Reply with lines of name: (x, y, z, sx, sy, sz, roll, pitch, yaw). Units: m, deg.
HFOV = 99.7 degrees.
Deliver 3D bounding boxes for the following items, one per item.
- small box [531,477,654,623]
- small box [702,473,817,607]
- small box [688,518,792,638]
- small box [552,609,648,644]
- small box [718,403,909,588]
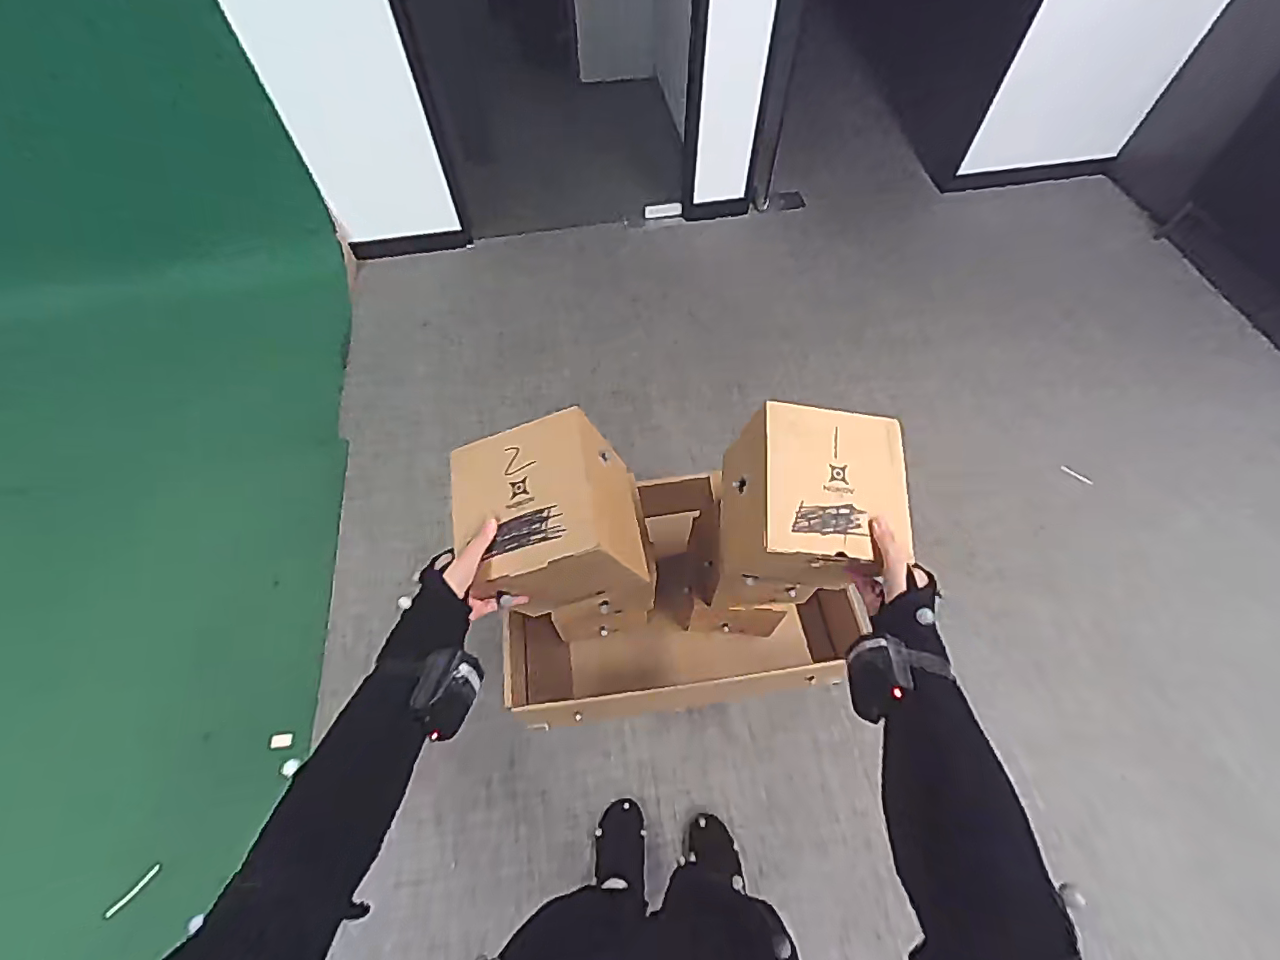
small box: (-0.072, 0.120, 0.870, 0.168, 0.176, 0.179, -10, 61, -5)
small box: (0.195, 0.102, 0.880, 0.168, 0.176, 0.179, -2, 60, -1)
small box: (0.179, 0.187, 1.019, 0.168, 0.176, 0.179, 2, 61, 2)
small box: (-0.081, 0.191, 1.019, 0.168, 0.176, 0.179, -10, 61, -5)
small box: (0.197, 0.030, 0.660, 0.168, 0.176, 0.179, 7, 68, -6)
